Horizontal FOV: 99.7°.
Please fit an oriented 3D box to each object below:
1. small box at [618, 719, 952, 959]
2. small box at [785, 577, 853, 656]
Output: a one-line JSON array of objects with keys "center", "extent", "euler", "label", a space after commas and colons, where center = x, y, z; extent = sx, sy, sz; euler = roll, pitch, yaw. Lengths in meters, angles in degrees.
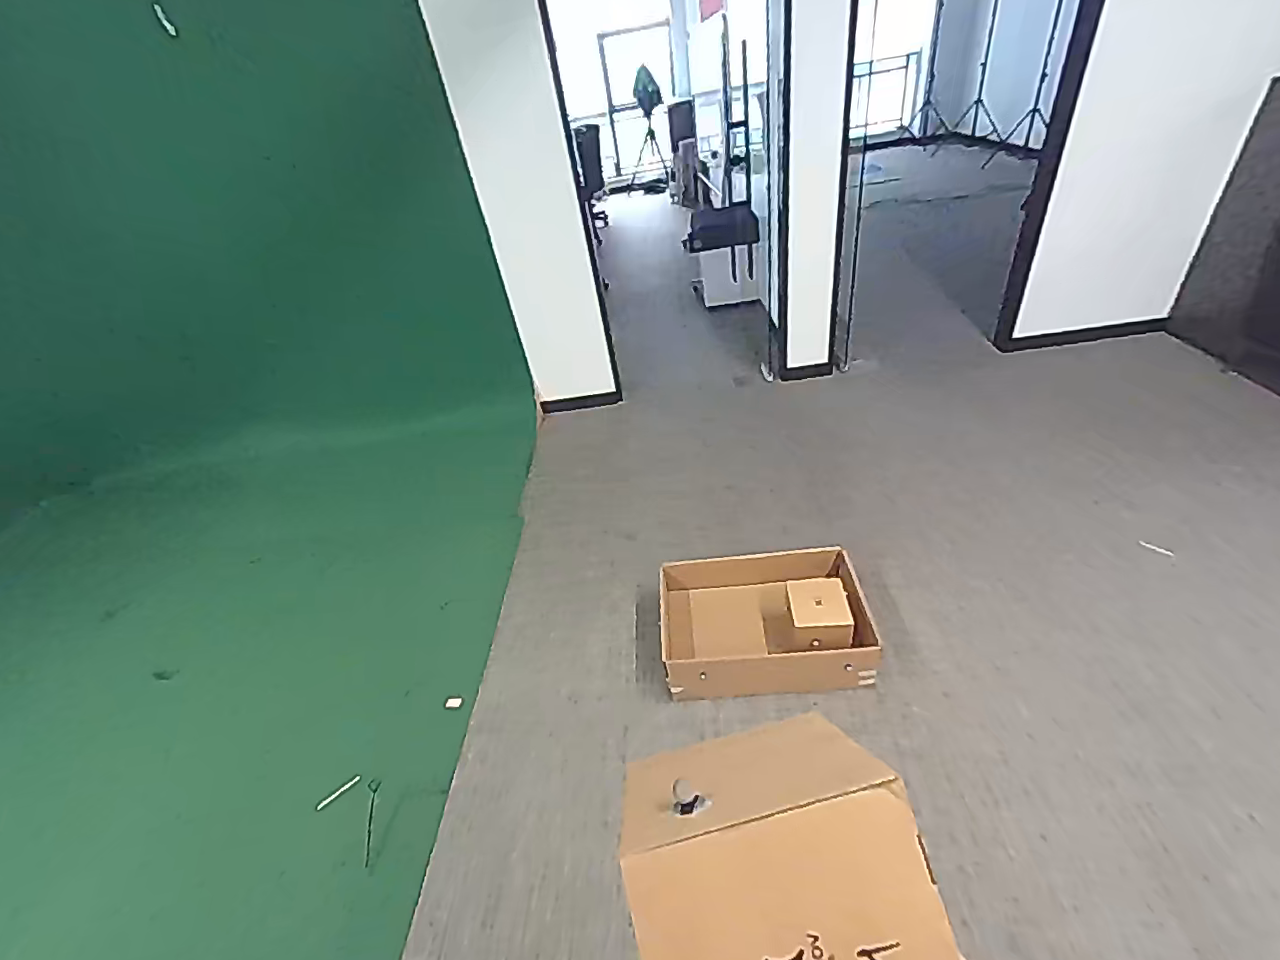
[{"center": [0.090, 0.290, 0.385], "extent": [0.179, 0.176, 0.168], "euler": [-14, 80, -2], "label": "small box"}, {"center": [0.540, 0.420, 1.647], "extent": [0.168, 0.176, 0.179], "euler": [-5, 37, 8], "label": "small box"}]
